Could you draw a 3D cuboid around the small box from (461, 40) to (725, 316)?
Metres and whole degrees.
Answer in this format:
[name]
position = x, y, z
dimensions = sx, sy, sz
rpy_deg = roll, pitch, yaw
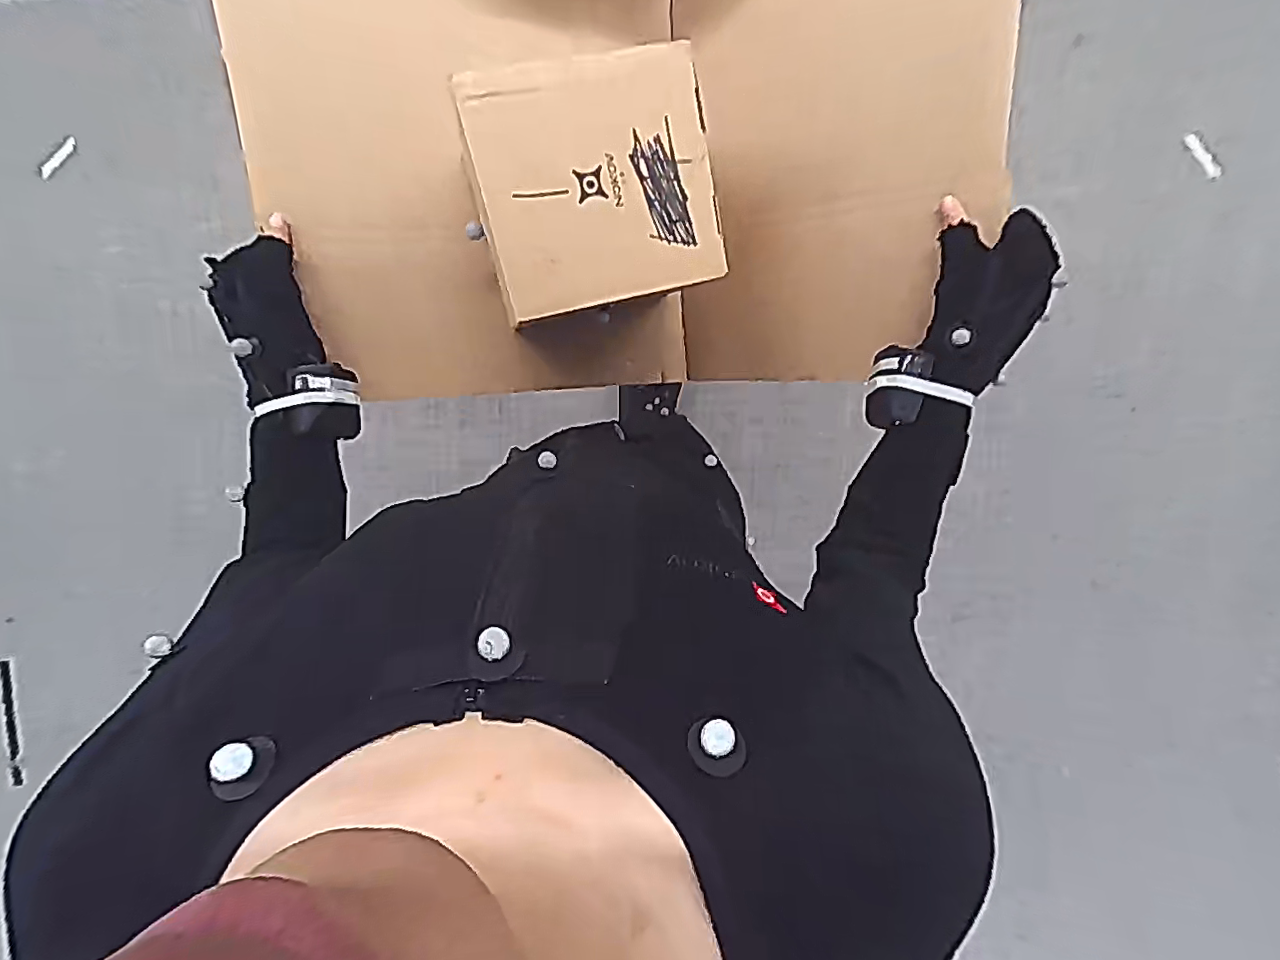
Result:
[small box]
position = -0.047, -0.248, 0.482
dimensions = 0.179, 0.176, 0.168
rpy_deg = -16, 107, -10
